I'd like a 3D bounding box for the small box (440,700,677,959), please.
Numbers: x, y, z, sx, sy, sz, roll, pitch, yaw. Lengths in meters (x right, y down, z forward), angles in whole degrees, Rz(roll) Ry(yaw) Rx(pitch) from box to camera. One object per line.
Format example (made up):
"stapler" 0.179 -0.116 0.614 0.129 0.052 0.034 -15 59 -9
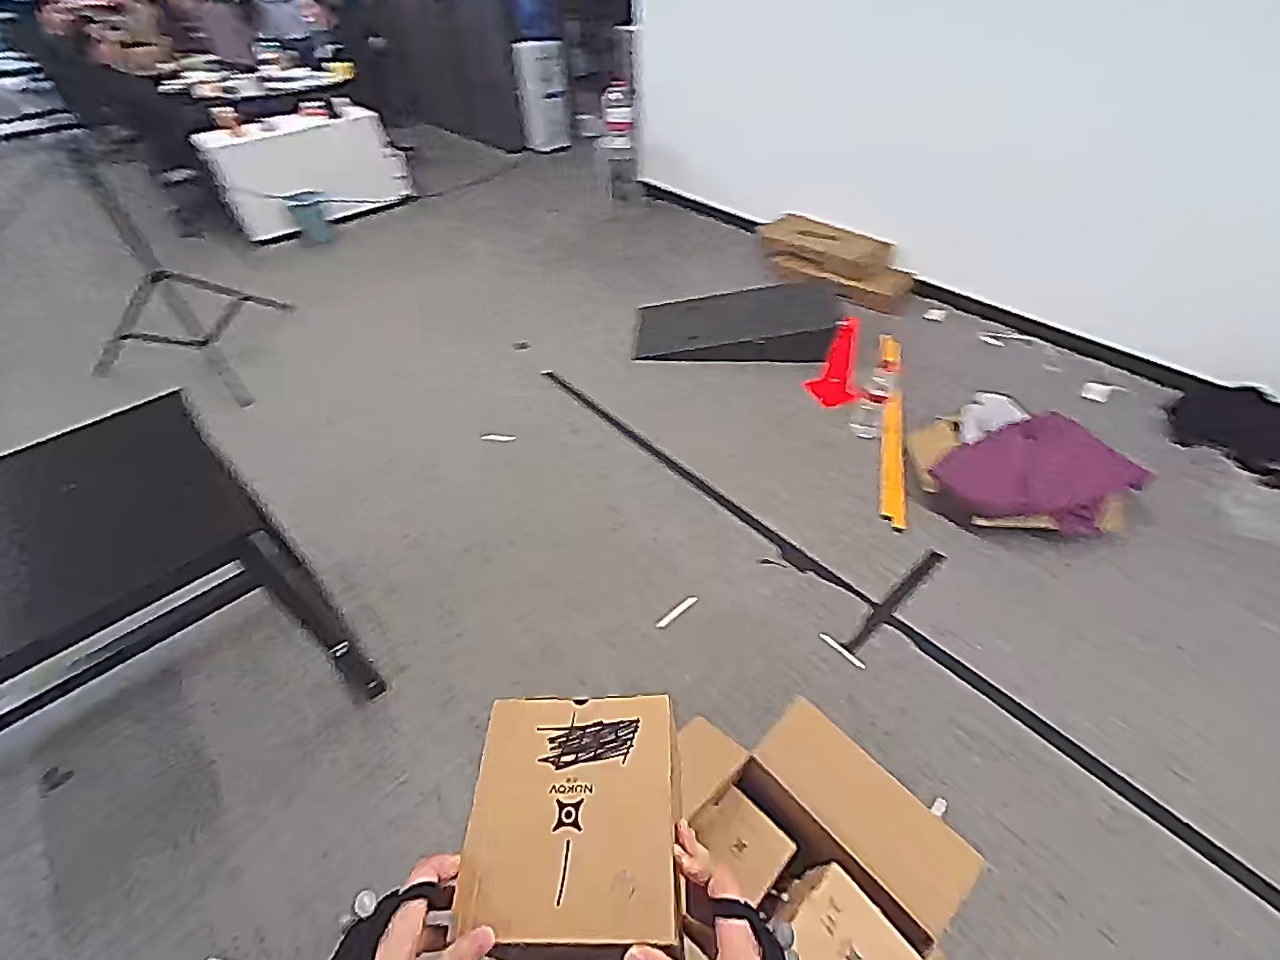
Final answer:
"small box" -0.055 0.325 0.496 0.168 0.176 0.179 -5 45 4
